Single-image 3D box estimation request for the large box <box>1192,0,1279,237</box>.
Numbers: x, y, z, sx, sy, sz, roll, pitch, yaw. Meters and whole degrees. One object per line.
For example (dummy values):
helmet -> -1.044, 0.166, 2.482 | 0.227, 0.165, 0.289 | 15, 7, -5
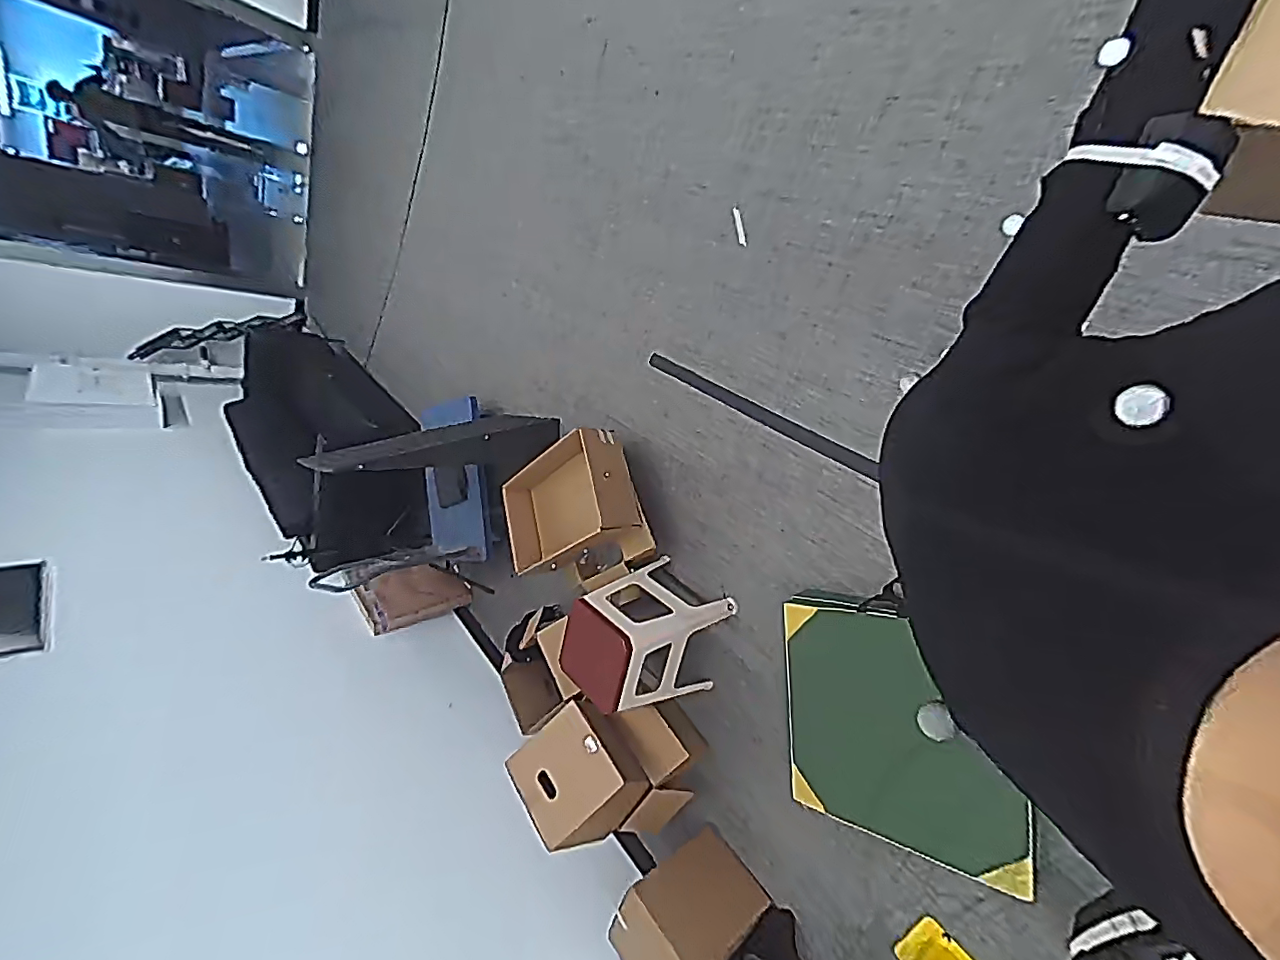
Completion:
large box -> 0.648, -0.307, 0.296 | 0.408, 0.320, 0.320 | 32, 120, 37
